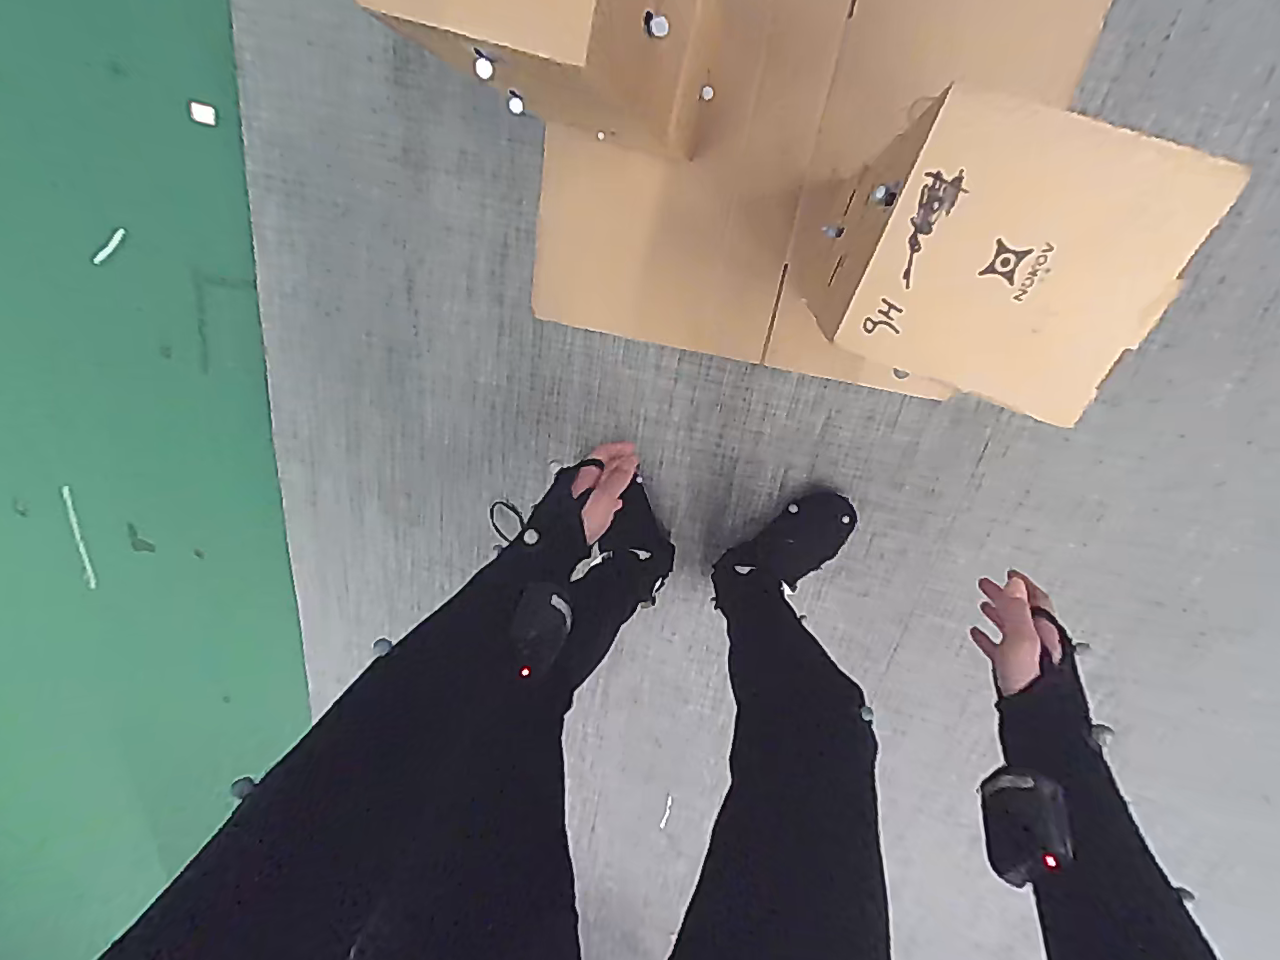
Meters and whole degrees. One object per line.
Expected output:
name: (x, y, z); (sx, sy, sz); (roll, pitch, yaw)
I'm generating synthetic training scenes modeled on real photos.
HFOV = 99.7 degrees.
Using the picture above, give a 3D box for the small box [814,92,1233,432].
small box: (0.253, -0.161, 0.419); (0.179, 0.176, 0.168); (21, 115, 5)

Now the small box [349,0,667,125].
small box: (-0.083, -0.394, 0.407); (0.179, 0.176, 0.168); (20, 116, 7)

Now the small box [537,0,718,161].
small box: (-0.010, -0.530, 0.697); (0.179, 0.176, 0.168); (17, 115, 6)

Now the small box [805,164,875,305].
small box: (0.331, -0.293, 0.711); (0.179, 0.176, 0.168); (19, 115, 7)
